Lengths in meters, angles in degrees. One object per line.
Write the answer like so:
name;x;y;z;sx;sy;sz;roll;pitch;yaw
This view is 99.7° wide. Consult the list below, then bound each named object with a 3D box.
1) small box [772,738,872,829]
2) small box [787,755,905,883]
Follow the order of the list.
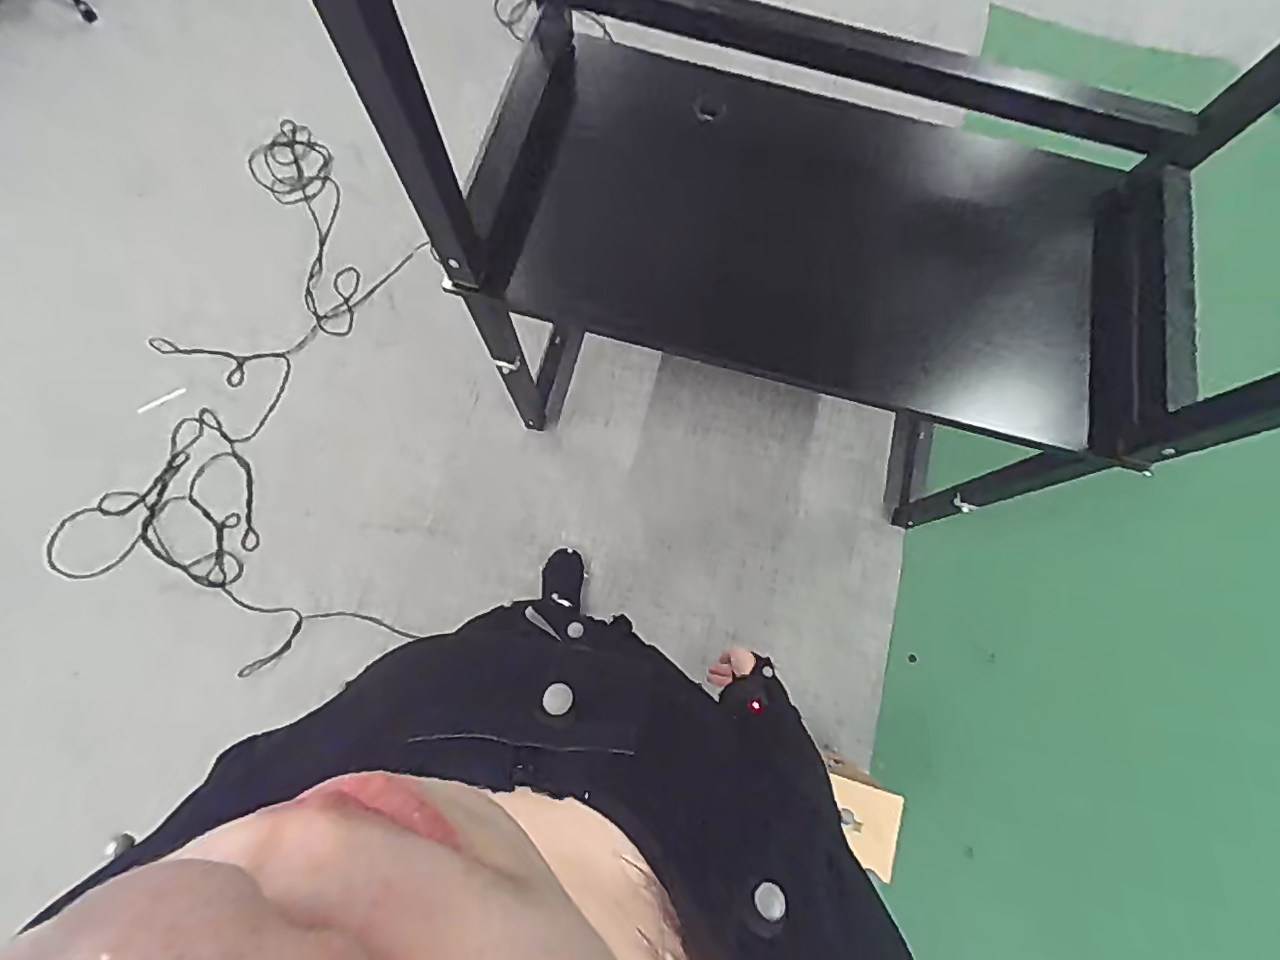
small box;0.439;0.760;1.329;0.168;0.176;0.179;18;78;3
small box;0.438;0.720;1.173;0.179;0.176;0.168;17;78;1
